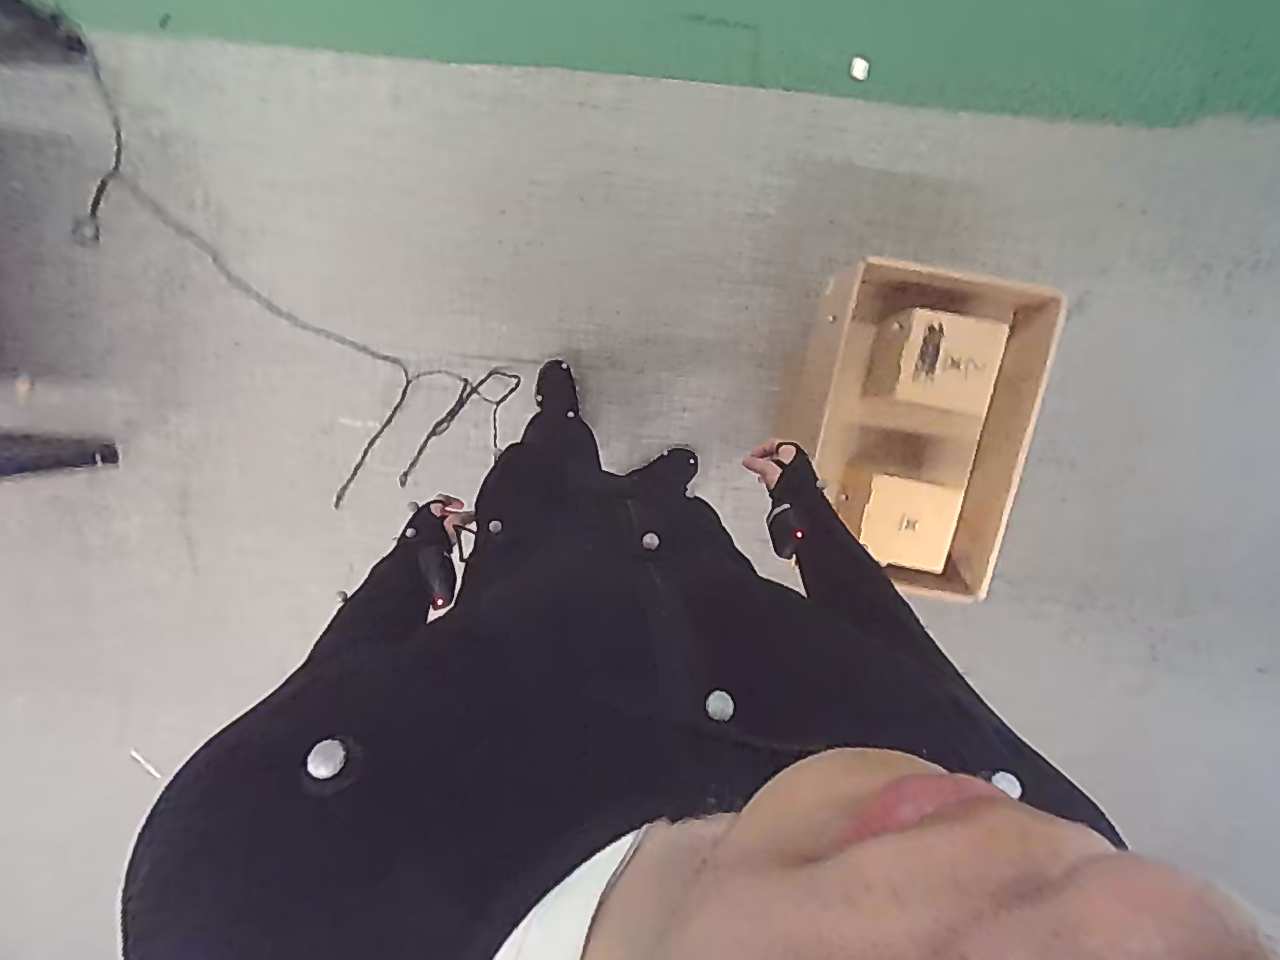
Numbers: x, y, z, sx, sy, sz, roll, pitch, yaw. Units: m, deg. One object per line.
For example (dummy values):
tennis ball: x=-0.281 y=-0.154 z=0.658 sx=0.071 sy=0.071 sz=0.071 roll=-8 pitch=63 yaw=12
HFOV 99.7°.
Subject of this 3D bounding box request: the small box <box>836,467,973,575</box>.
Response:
small box: x=0.526 y=0.075 z=1.101 sx=0.179 sy=0.176 sz=0.168 roll=11 pitch=100 yaw=2
